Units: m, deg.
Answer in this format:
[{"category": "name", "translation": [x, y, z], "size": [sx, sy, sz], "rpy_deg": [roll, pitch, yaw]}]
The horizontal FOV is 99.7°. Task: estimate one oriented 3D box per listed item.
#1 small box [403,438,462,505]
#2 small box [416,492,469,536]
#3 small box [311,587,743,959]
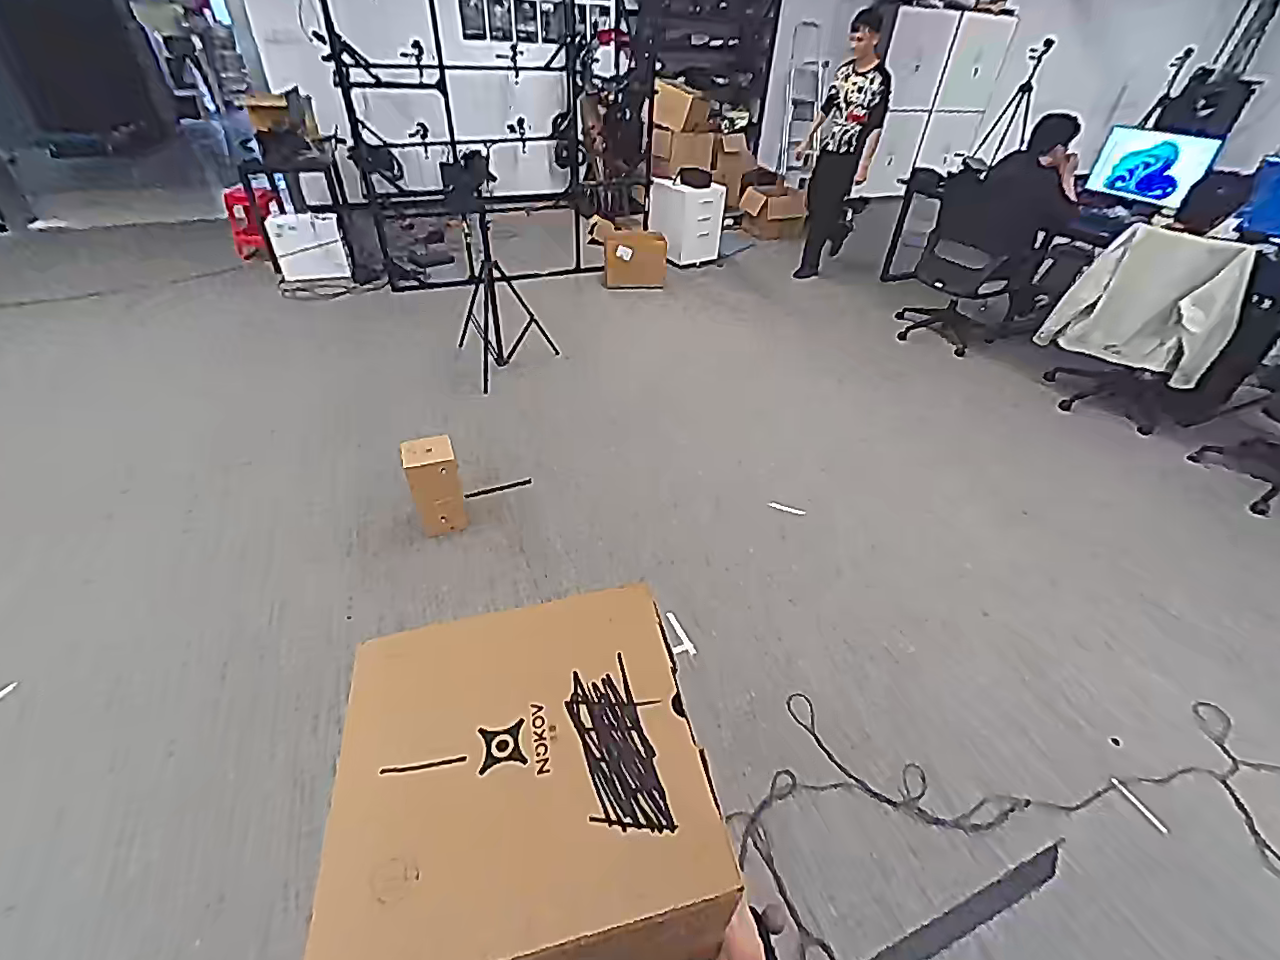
[{"category": "small box", "translation": [-0.763, -0.031, 1.998], "size": [0.179, 0.176, 0.168], "rpy_deg": [-14, 40, -19]}, {"category": "small box", "translation": [-0.769, 0.100, 2.100], "size": [0.168, 0.176, 0.179], "rpy_deg": [-13, 42, -18]}, {"category": "small box", "translation": [-0.057, 0.193, 0.322], "size": [0.179, 0.176, 0.168], "rpy_deg": [-10, 42, -9]}]
